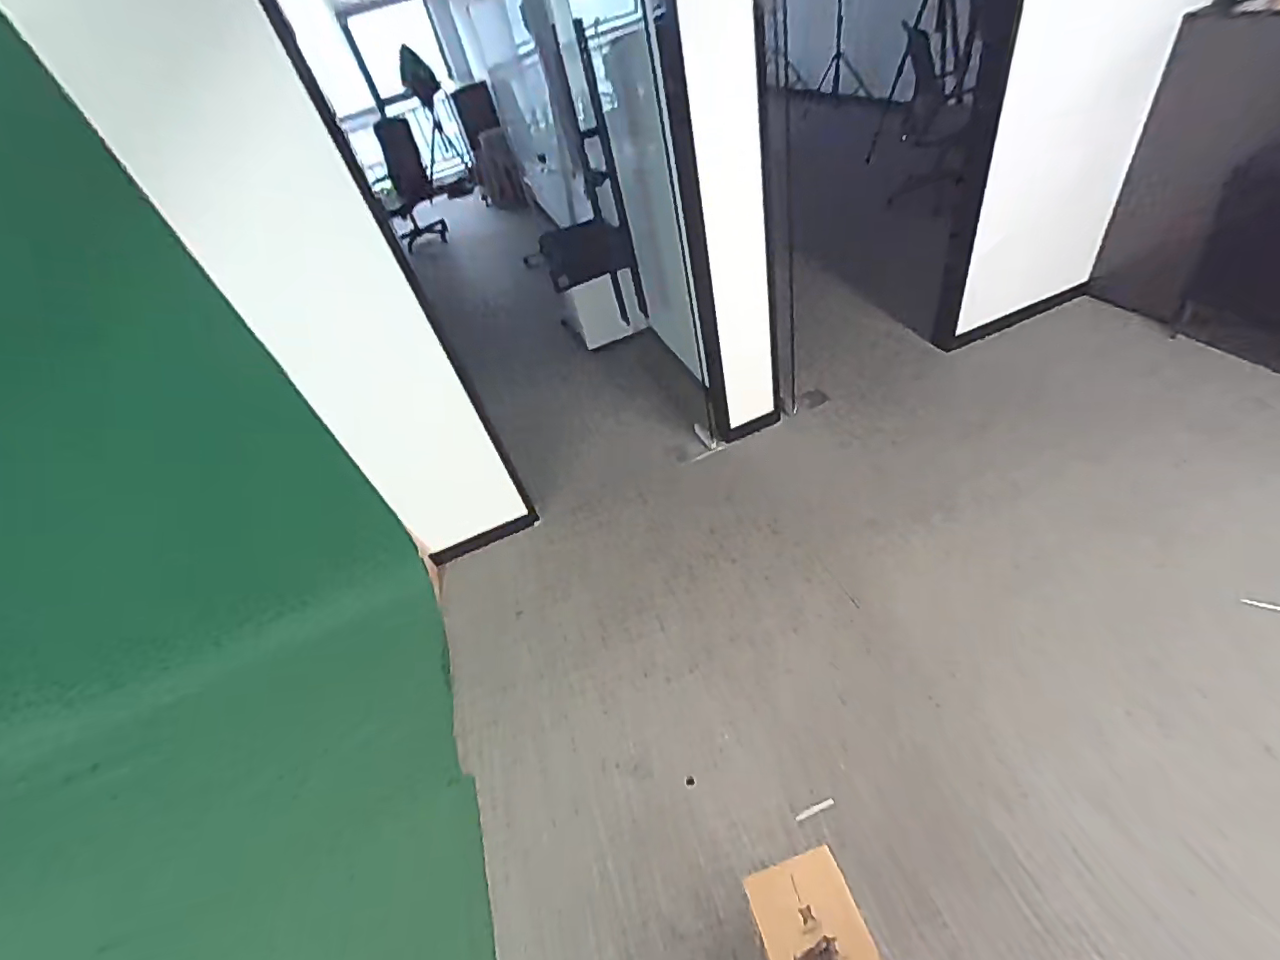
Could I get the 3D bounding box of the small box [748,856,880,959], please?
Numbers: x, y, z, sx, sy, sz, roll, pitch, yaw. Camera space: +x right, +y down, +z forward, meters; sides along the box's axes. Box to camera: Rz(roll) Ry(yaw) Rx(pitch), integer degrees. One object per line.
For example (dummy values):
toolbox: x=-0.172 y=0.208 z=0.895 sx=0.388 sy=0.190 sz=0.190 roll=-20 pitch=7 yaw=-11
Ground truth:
small box: x=0.305 y=0.802 z=0.947 sx=0.168 sy=0.176 sz=0.179 roll=-20 pitch=42 yaw=-4
